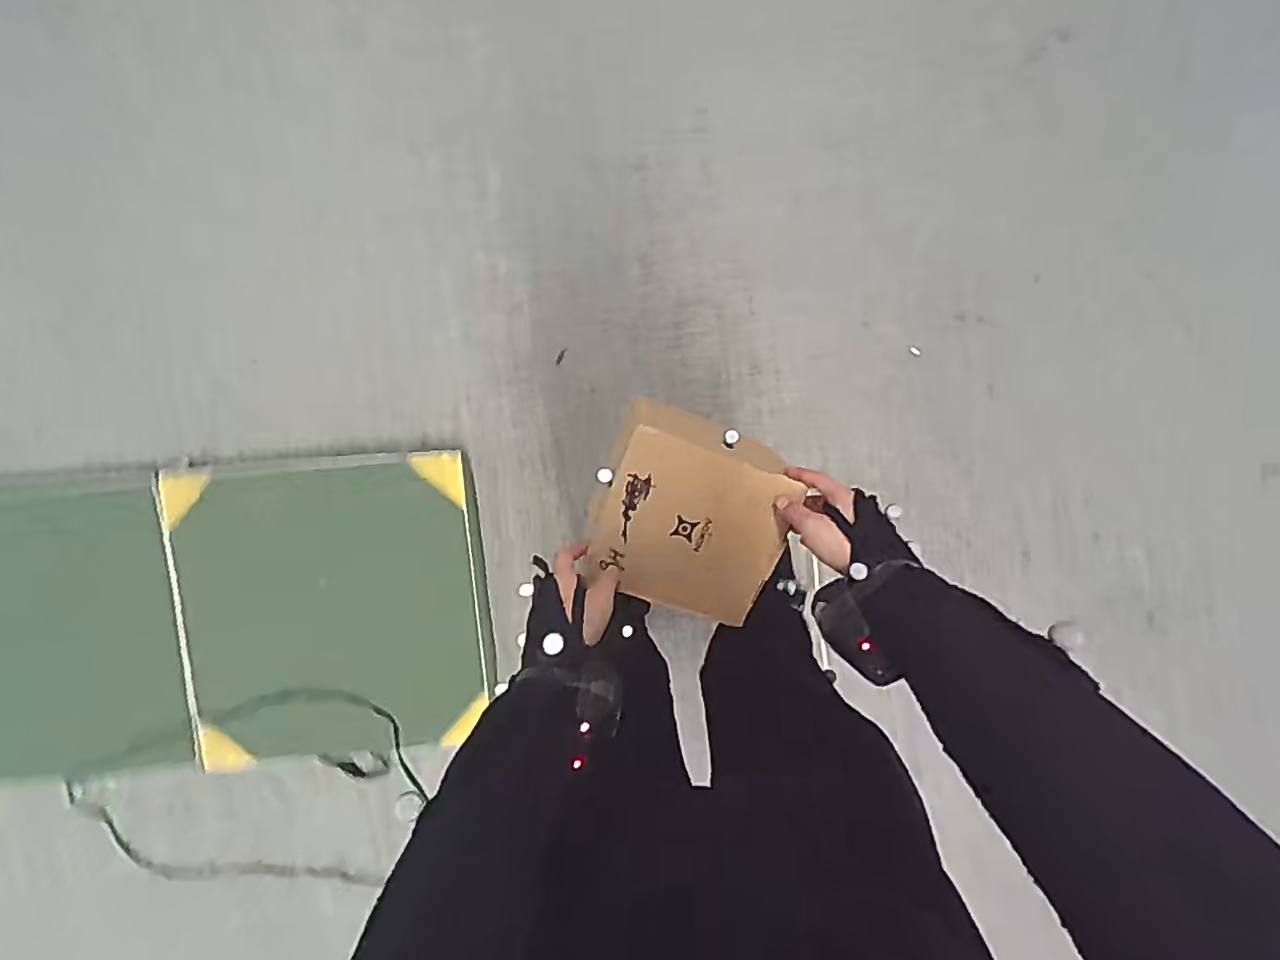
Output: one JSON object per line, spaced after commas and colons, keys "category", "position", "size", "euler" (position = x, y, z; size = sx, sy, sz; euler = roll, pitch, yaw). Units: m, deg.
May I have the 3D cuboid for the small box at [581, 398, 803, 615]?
{"category": "small box", "position": [0.045, 0.018, 0.600], "size": [0.179, 0.176, 0.168], "euler": [18, 105, -8]}
